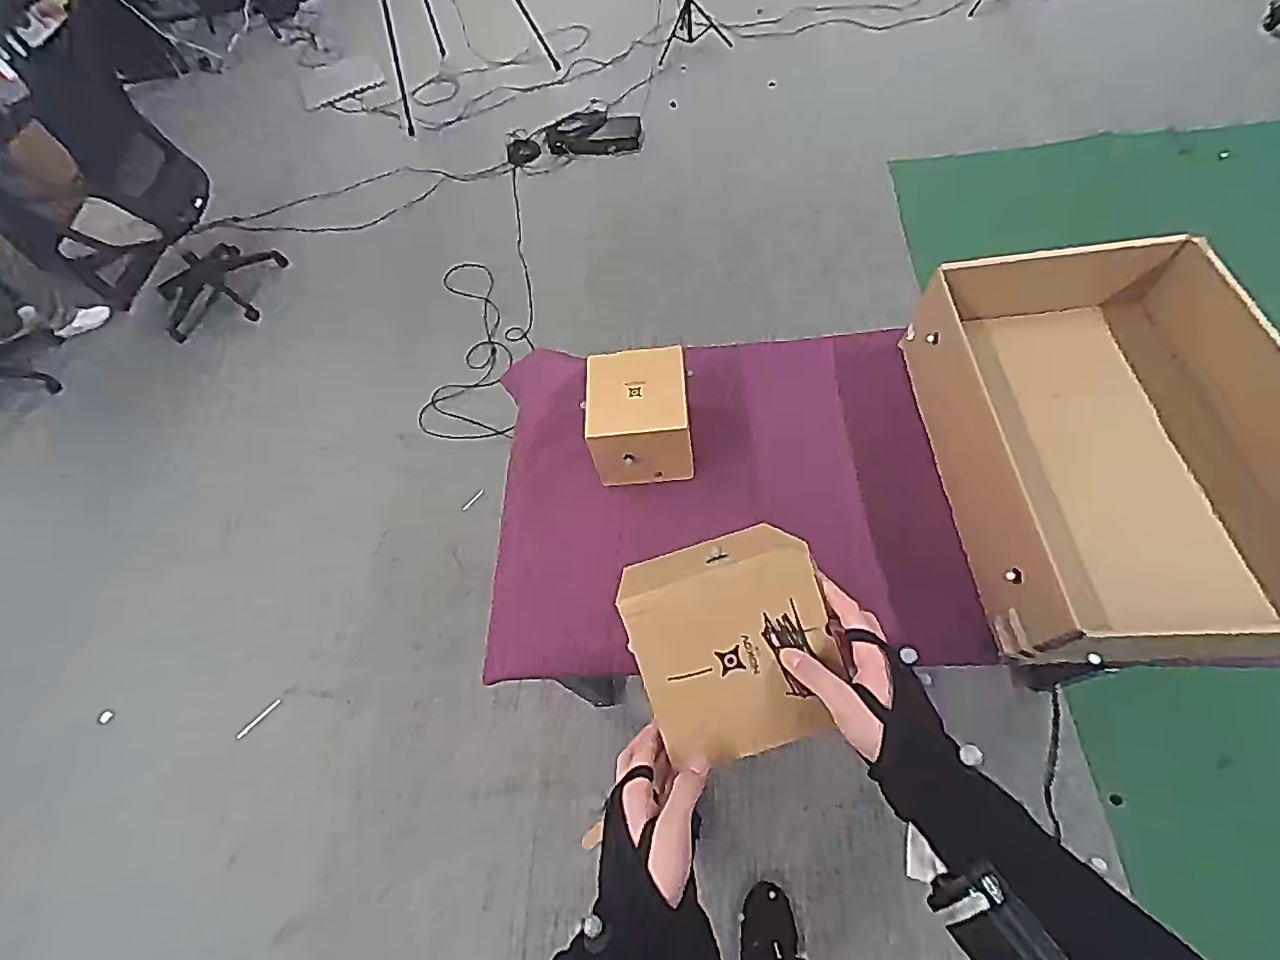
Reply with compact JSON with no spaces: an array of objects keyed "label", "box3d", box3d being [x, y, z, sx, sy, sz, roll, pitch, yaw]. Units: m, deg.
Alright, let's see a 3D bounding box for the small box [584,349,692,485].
[{"label":"small box","box3d":[0.002,-0.102,0.956,0.168,0.176,0.179,-5,59,6]}]
